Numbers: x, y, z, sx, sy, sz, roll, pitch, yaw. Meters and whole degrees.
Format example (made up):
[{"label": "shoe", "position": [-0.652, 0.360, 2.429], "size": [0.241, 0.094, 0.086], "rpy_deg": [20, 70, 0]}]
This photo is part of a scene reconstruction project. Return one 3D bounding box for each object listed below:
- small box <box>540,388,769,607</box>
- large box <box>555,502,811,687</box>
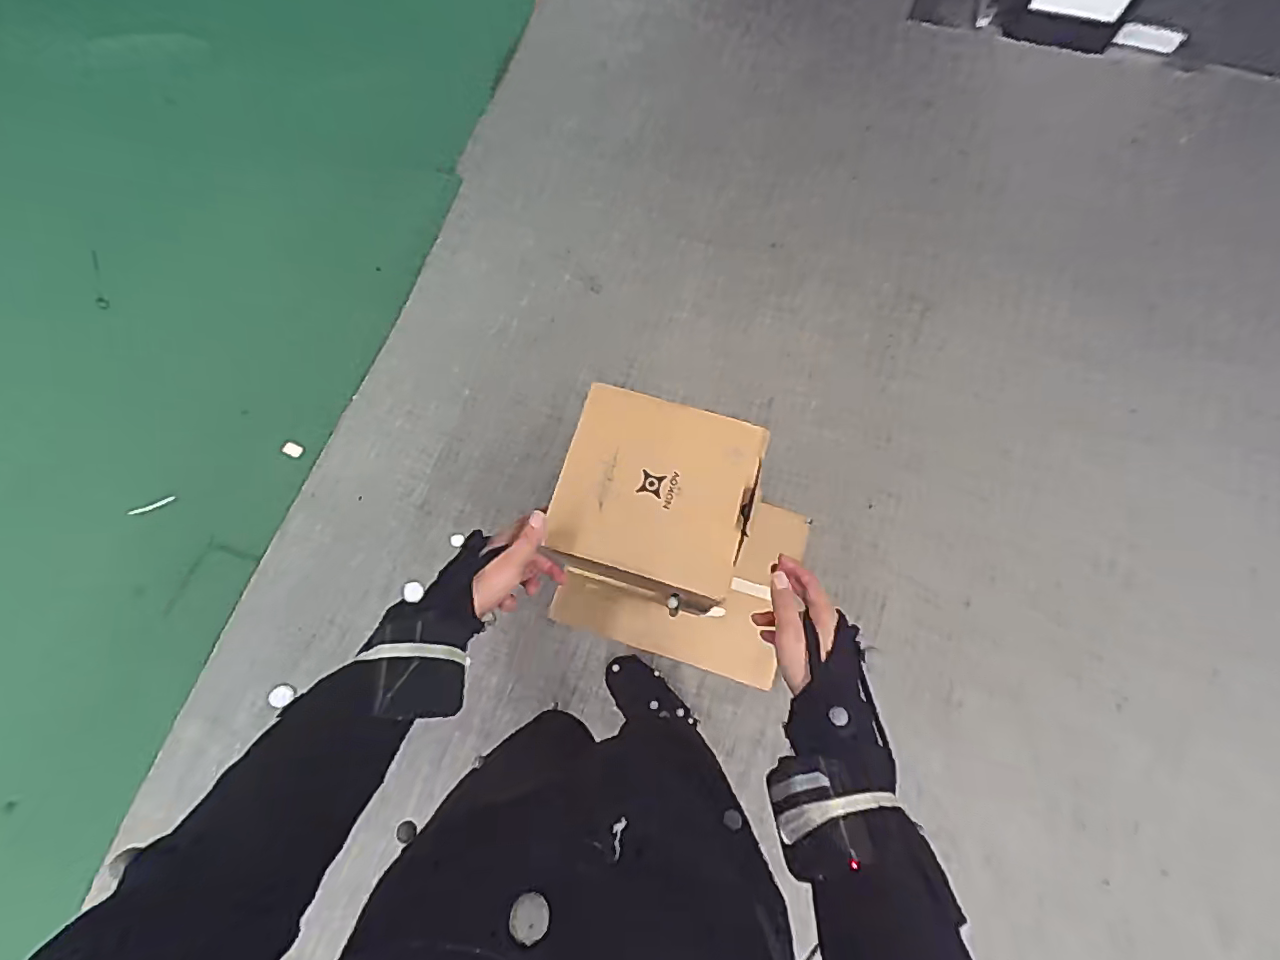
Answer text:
[{"label": "small box", "position": [0.019, 0.030, 0.566], "size": [0.179, 0.176, 0.168], "rpy_deg": [15, 74, 7]}, {"label": "large box", "position": [0.083, 0.197, 1.109], "size": [0.408, 0.320, 0.320], "rpy_deg": [16, 77, 6]}]
